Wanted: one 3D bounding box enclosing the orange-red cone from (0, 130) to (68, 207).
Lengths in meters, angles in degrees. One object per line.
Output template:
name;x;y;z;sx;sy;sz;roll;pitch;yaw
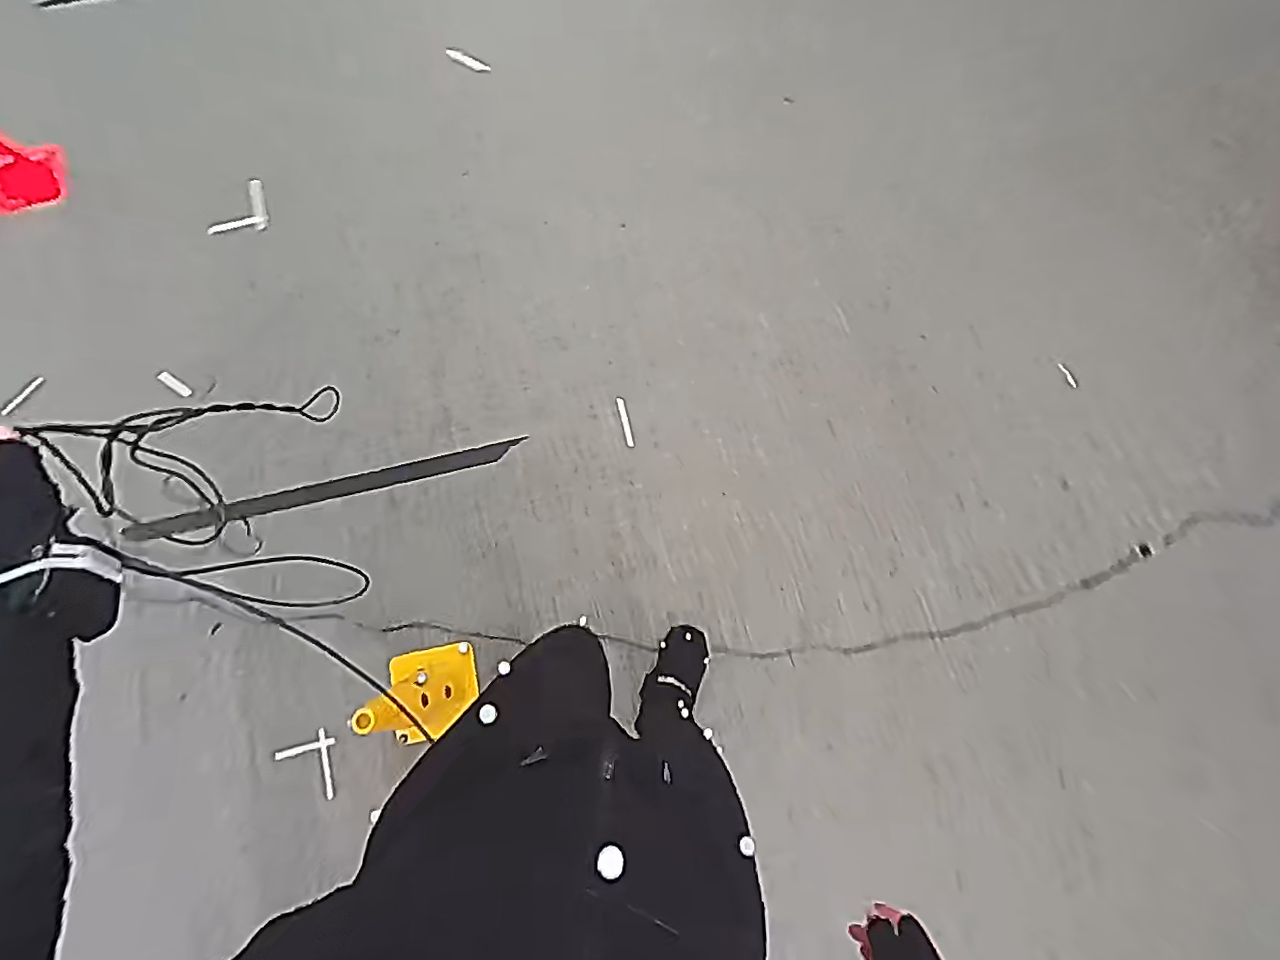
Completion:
orange-red cone;-1.794;-0.943;1.429;0.199;0.360;0.198;-18;77;-3
